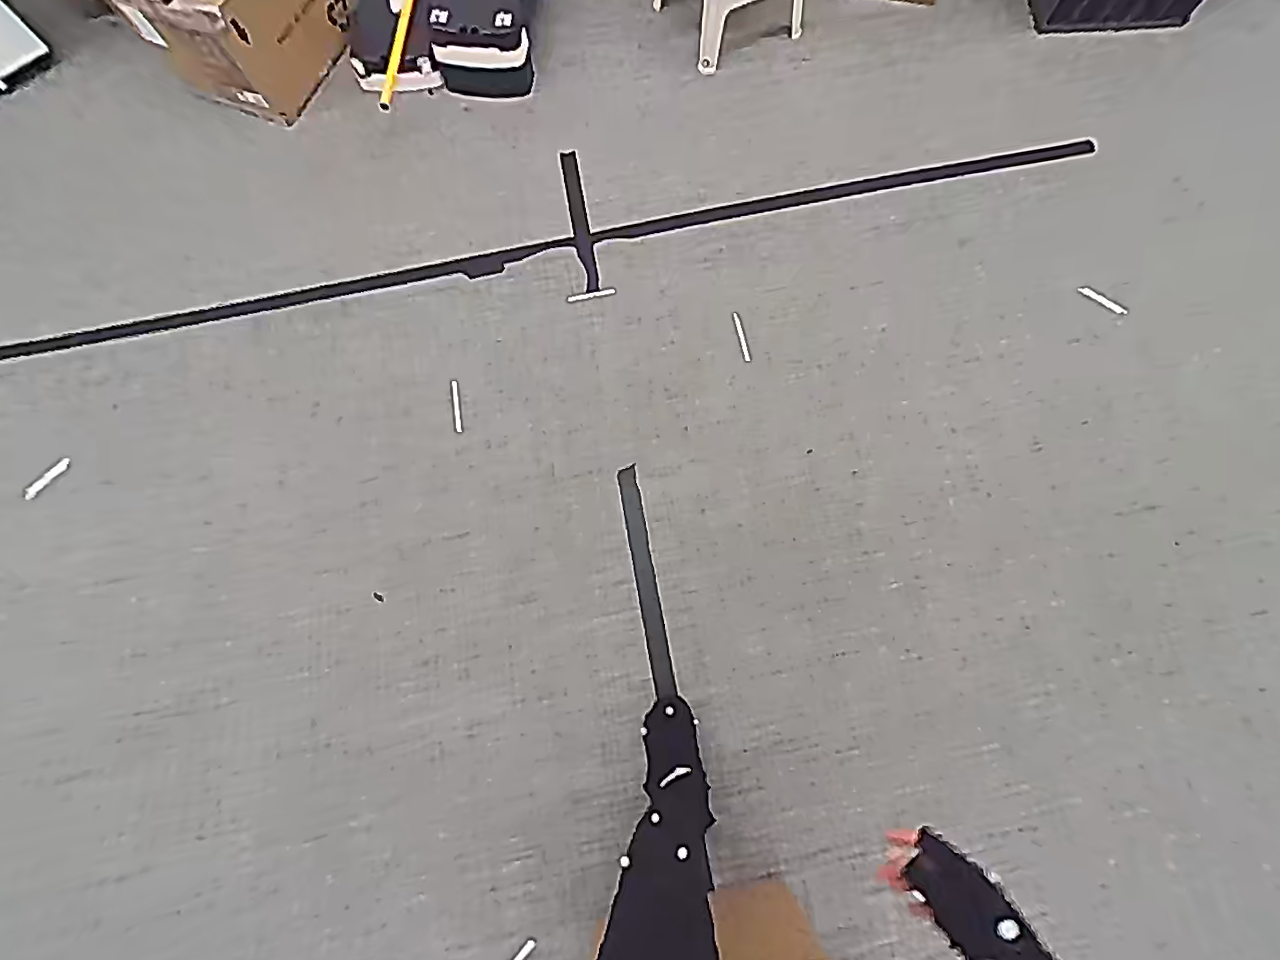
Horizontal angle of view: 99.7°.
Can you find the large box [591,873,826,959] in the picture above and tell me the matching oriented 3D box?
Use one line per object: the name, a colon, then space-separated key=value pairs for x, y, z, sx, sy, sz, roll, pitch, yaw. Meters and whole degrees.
large box: x=0.135 y=0.967 z=0.951 sx=0.408 sy=0.320 sz=0.320 roll=-11 pitch=73 yaw=-1
